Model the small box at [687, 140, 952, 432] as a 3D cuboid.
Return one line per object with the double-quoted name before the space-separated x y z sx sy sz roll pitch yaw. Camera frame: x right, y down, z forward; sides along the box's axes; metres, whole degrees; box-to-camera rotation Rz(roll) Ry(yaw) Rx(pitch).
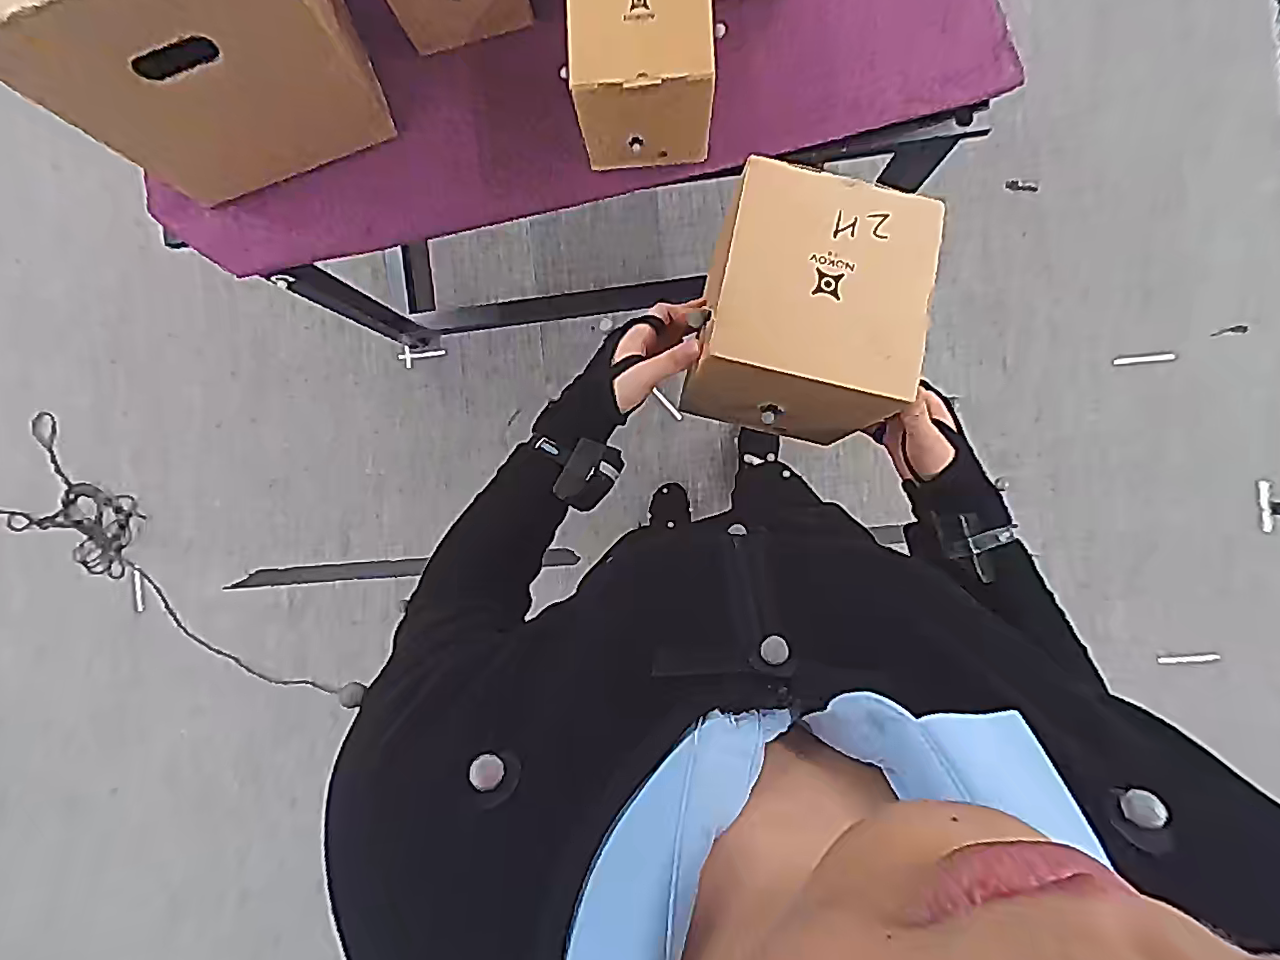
"small box" 0.145 -0.156 0.494 0.168 0.176 0.179 13 81 -2
